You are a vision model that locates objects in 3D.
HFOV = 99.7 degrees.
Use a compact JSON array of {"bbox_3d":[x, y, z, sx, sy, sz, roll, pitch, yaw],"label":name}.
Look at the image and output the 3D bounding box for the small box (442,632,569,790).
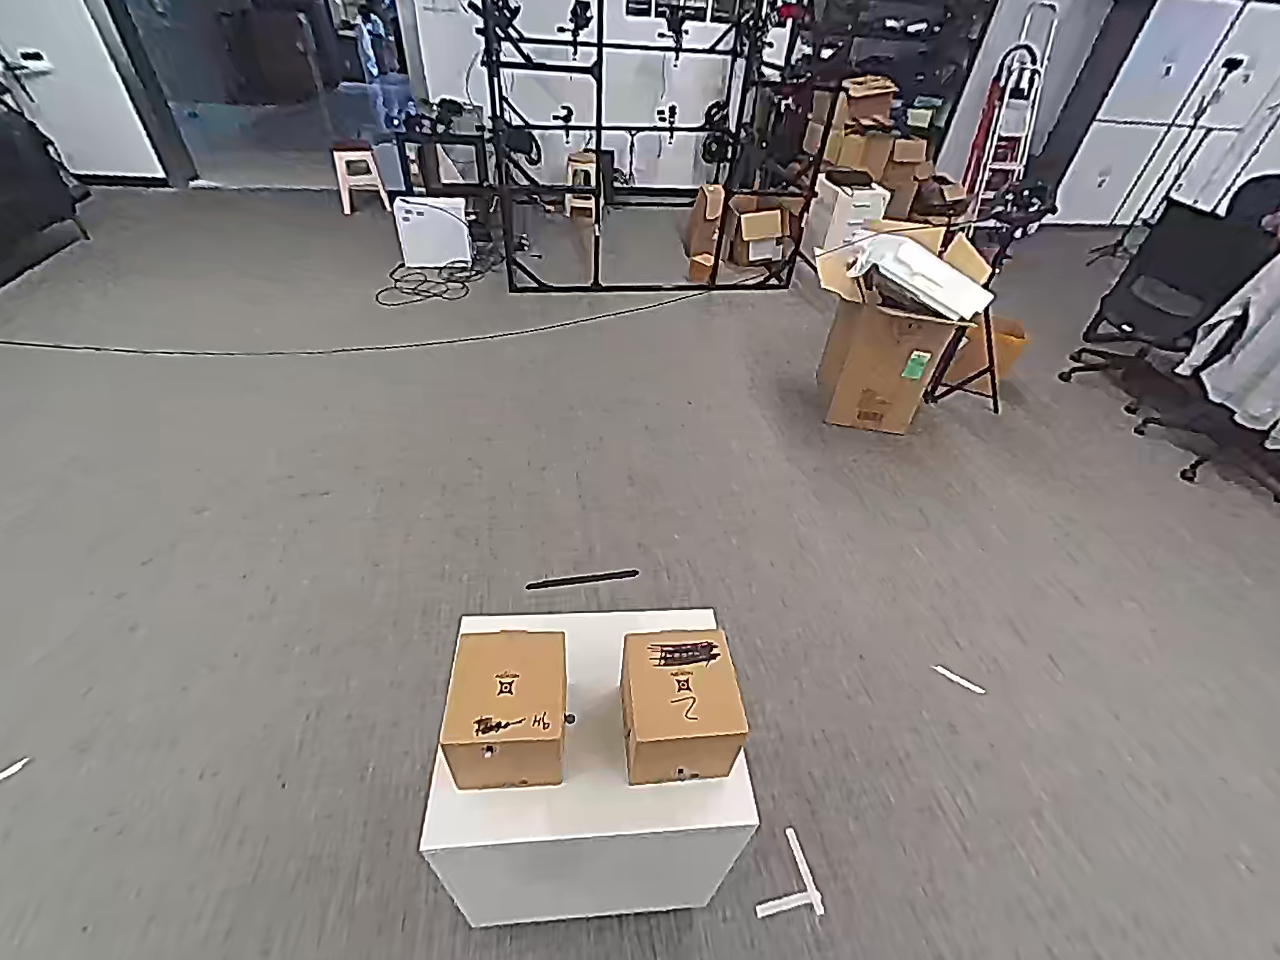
[{"bbox_3d":[-0.199,0.362,0.853,0.168,0.176,0.179,0,41,-5],"label":"small box"}]
